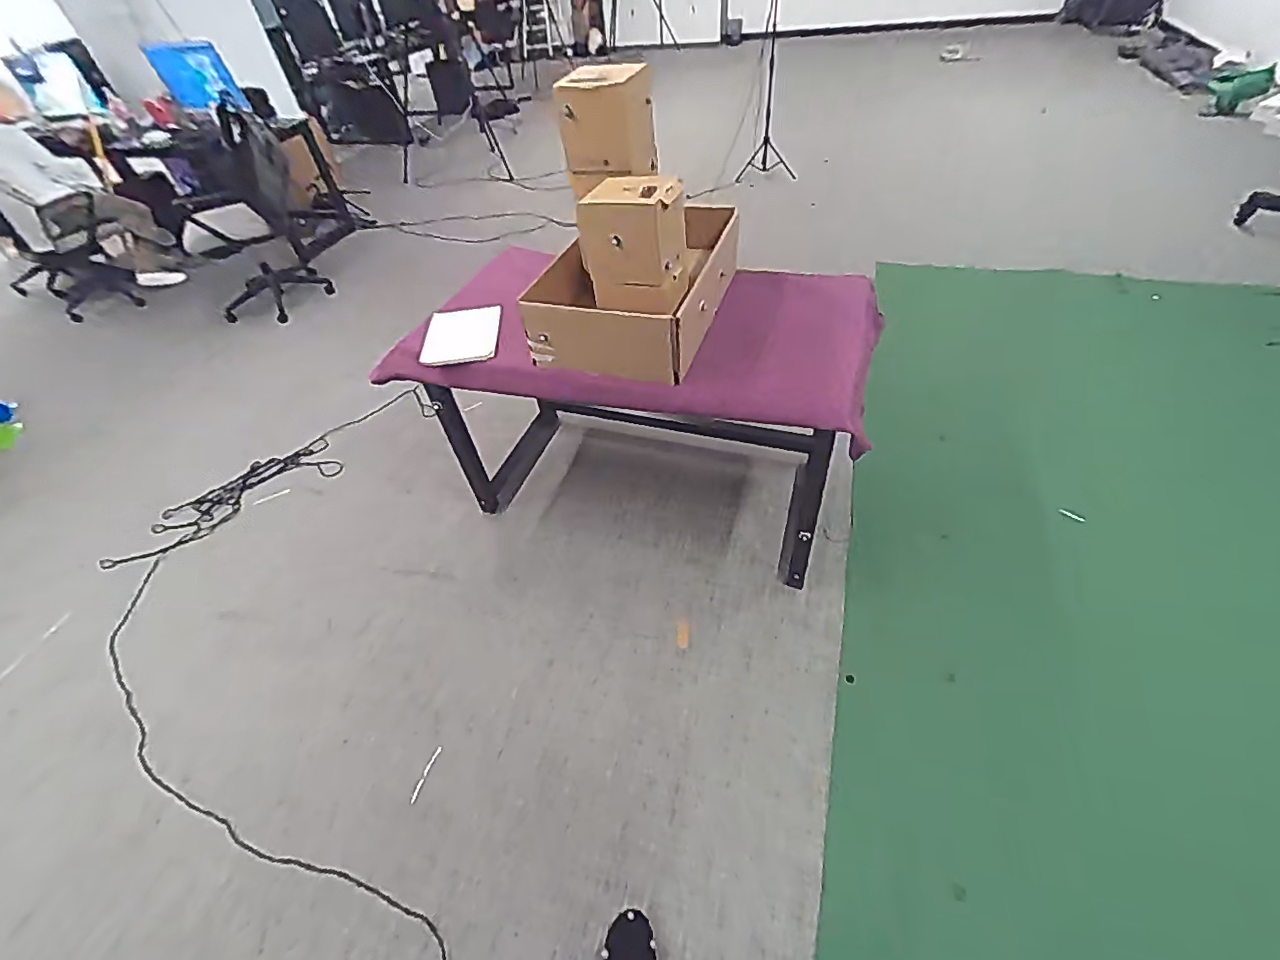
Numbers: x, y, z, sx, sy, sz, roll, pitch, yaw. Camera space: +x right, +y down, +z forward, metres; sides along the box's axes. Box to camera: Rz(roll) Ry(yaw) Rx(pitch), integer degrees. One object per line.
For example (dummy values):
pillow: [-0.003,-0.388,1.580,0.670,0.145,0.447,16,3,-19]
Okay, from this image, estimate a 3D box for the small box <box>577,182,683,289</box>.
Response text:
small box: [-0.011,-0.536,1.191,0.179,0.176,0.168,11,47,20]

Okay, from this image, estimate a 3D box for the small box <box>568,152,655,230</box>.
small box: [-0.058,-0.715,1.380,0.168,0.176,0.179,12,50,19]
